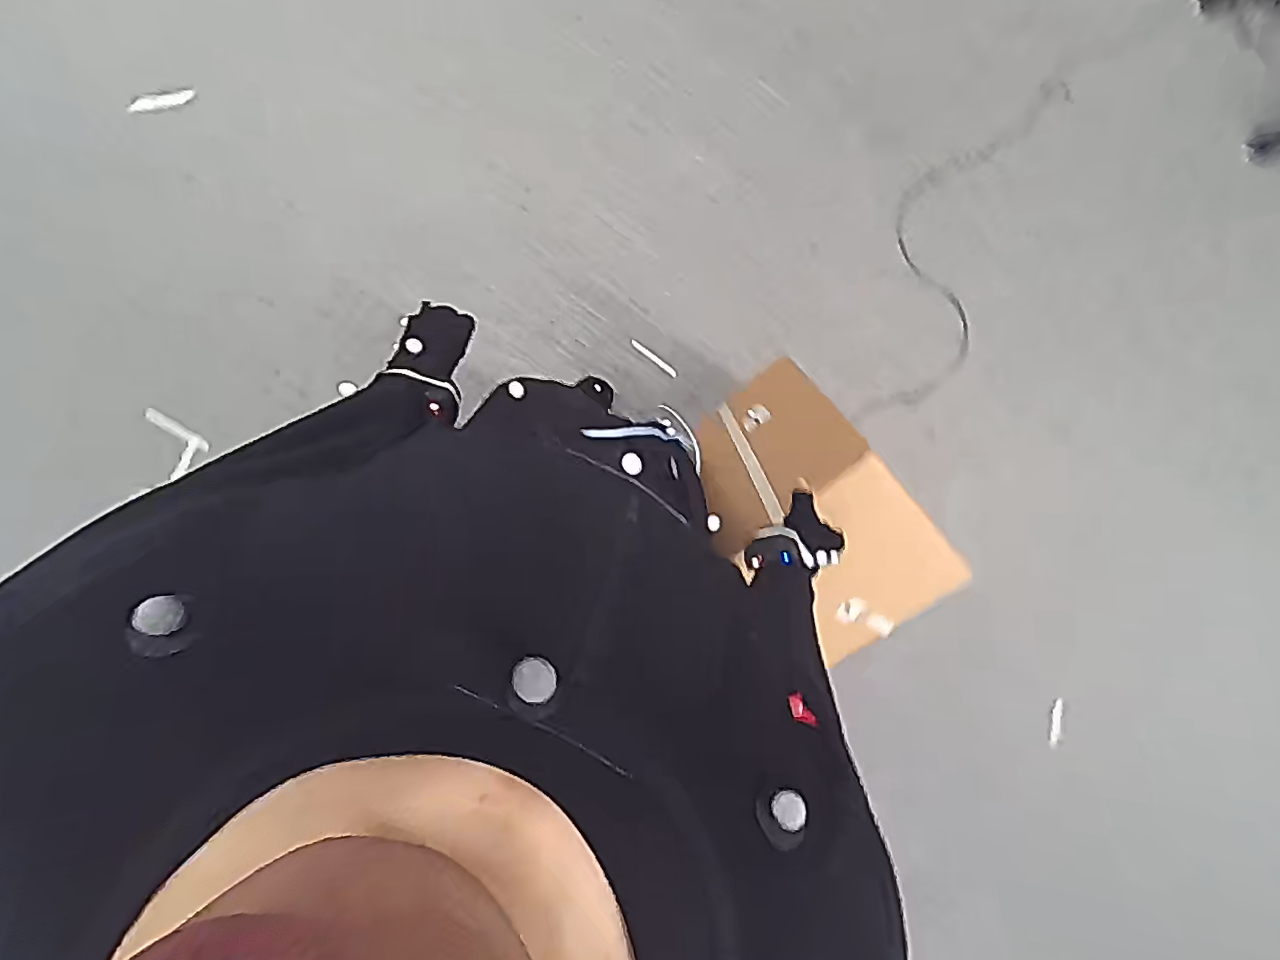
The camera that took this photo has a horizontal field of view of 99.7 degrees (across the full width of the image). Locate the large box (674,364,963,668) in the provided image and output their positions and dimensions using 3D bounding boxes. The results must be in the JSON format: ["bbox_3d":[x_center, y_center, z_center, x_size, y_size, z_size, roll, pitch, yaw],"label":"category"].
[{"bbox_3d":[0.292,0.051,0.999,0.320,0.408,0.320,-38,115,19],"label":"large box"}]
